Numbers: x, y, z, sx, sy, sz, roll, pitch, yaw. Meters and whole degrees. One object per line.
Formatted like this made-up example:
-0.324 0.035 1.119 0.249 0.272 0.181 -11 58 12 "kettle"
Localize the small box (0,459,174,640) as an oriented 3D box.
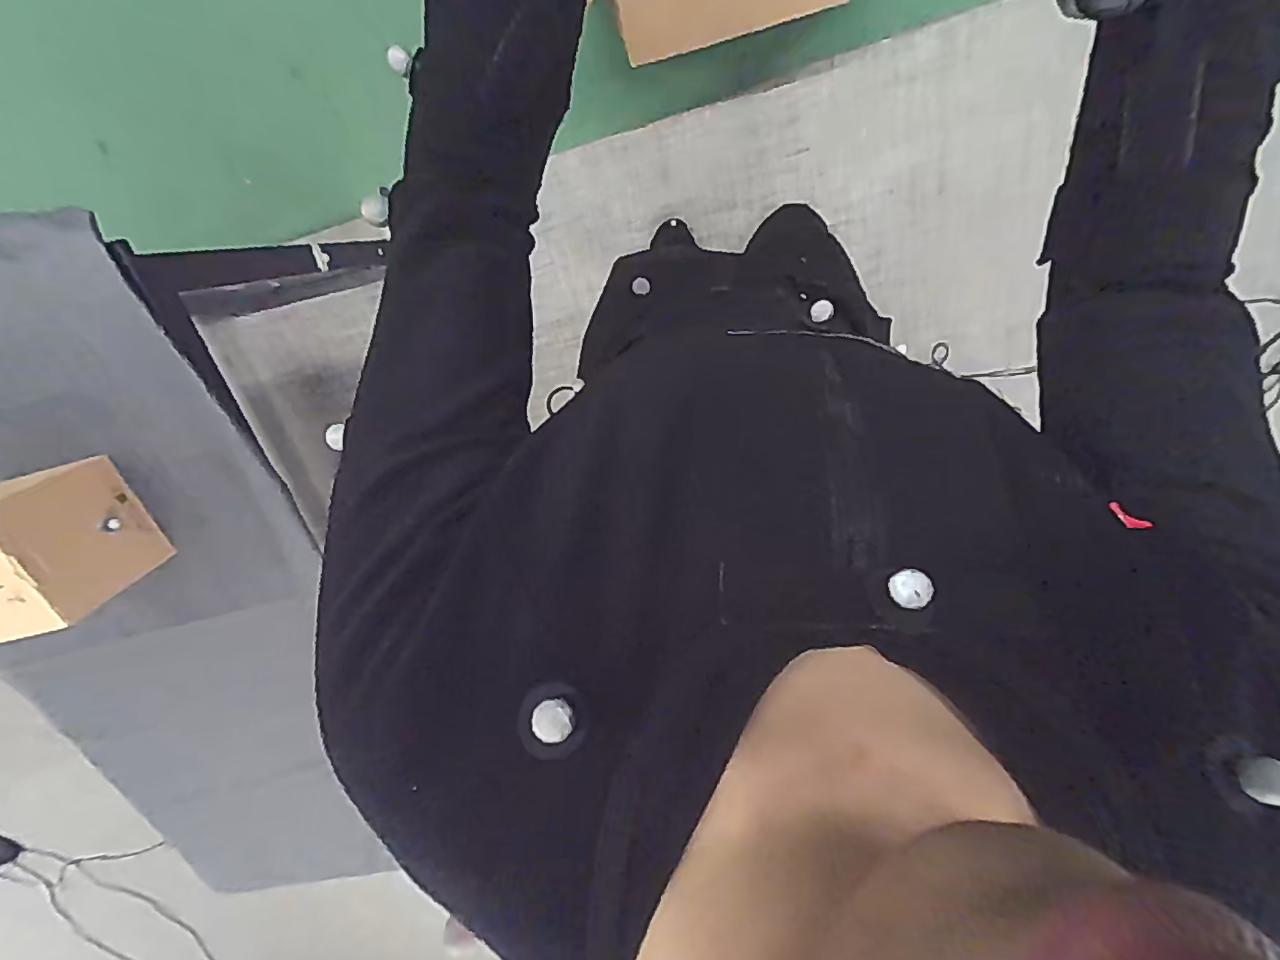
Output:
-0.787 0.089 0.709 0.179 0.176 0.168 -12 114 7 "small box"
